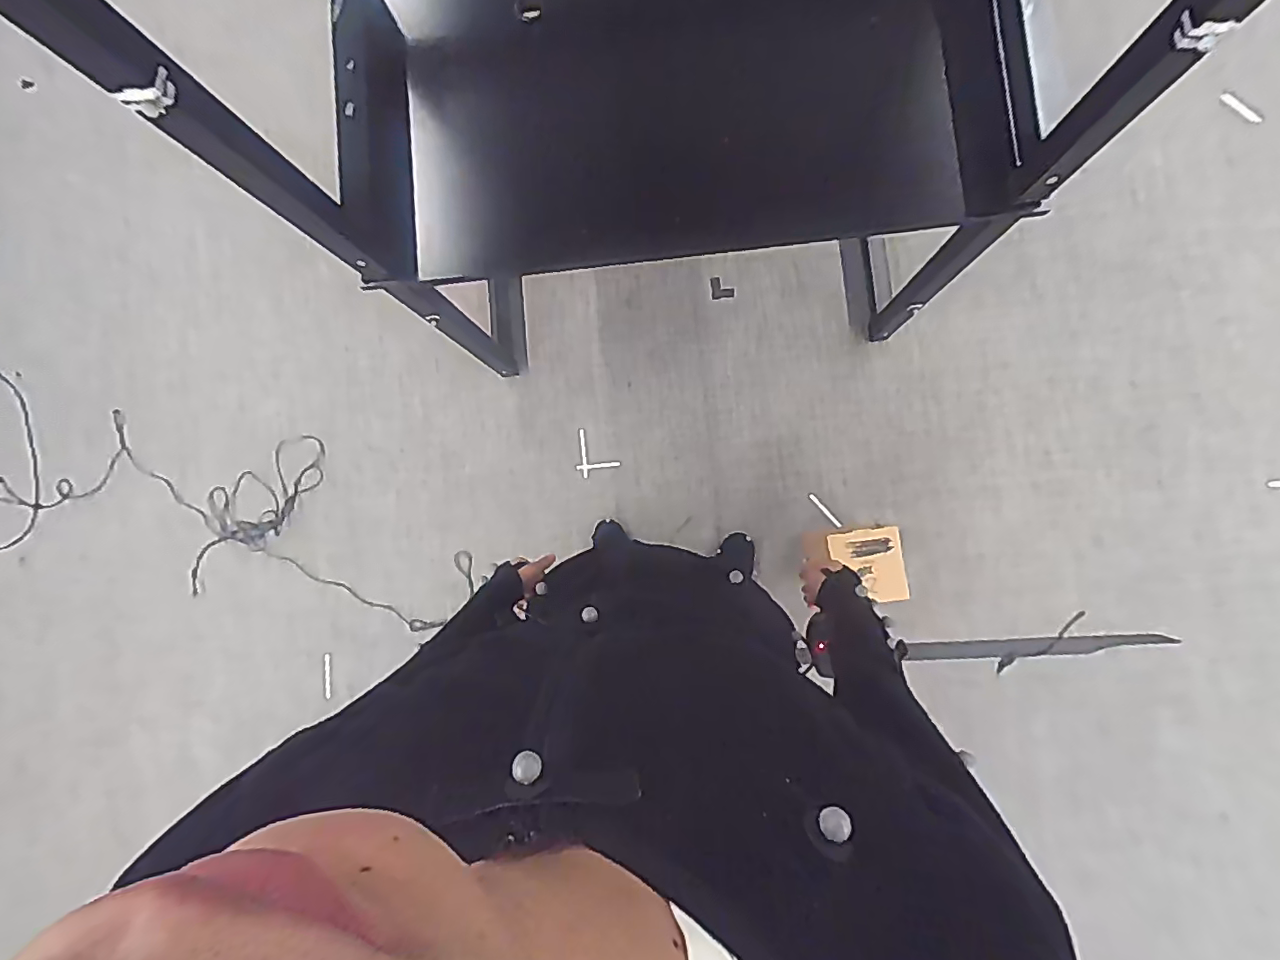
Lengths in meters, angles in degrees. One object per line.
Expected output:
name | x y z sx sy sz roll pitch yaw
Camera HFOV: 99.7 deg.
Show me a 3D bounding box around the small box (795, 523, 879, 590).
small box | 0.547 0.210 1.518 0.179 0.176 0.168 -5 86 5
